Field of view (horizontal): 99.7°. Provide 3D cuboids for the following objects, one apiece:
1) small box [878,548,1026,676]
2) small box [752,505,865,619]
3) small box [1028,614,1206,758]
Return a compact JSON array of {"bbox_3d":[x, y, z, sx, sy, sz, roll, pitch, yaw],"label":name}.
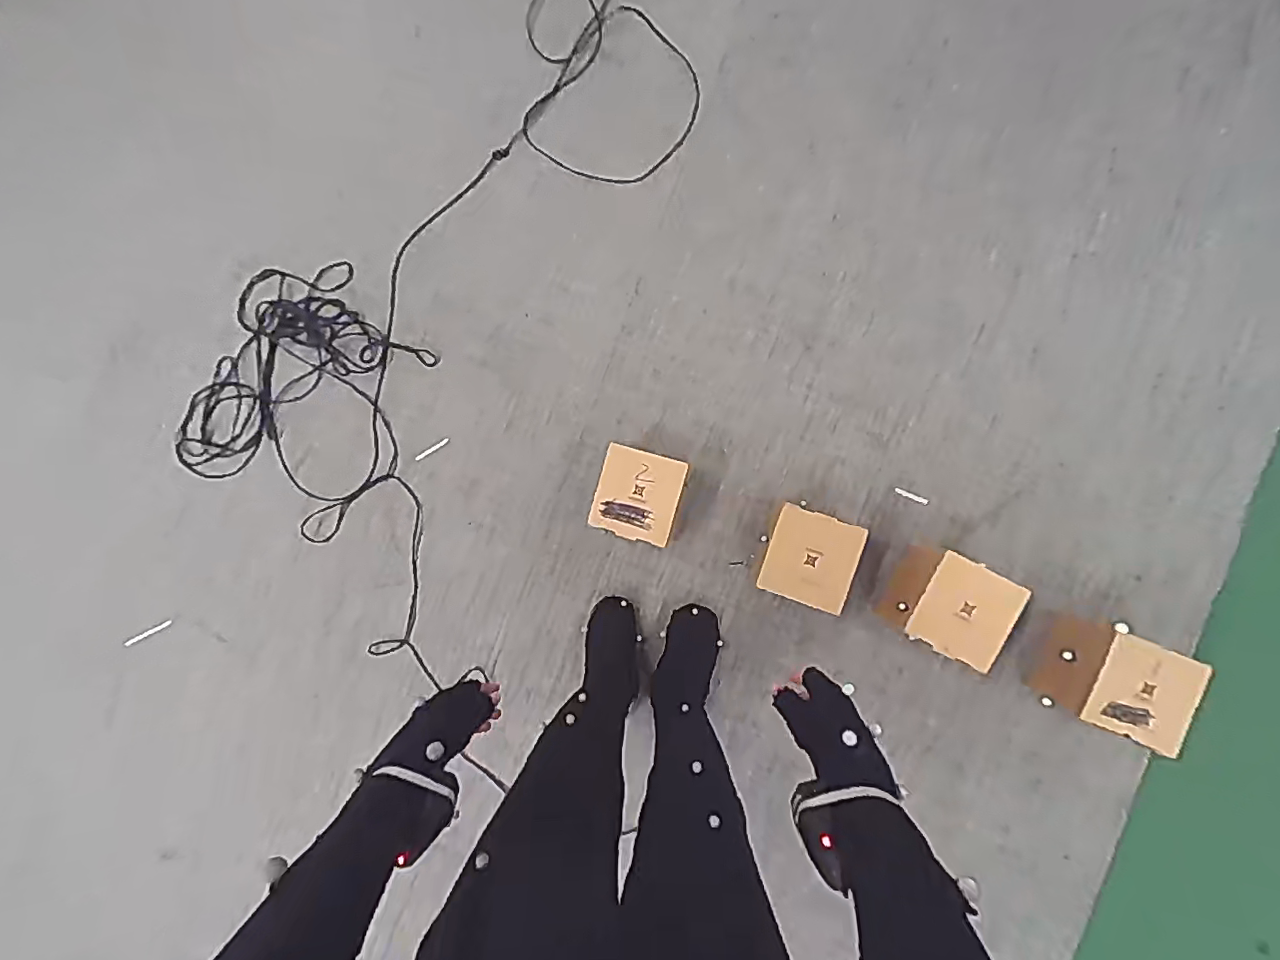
[{"bbox_3d":[0.601,0.248,1.070,0.168,0.176,0.179,27,92,7],"label":"small box"},{"bbox_3d":[0.333,0.156,1.104,0.168,0.176,0.179,18,92,9],"label":"small box"},{"bbox_3d":[0.889,0.381,1.031,0.168,0.176,0.179,23,90,7],"label":"small box"}]
